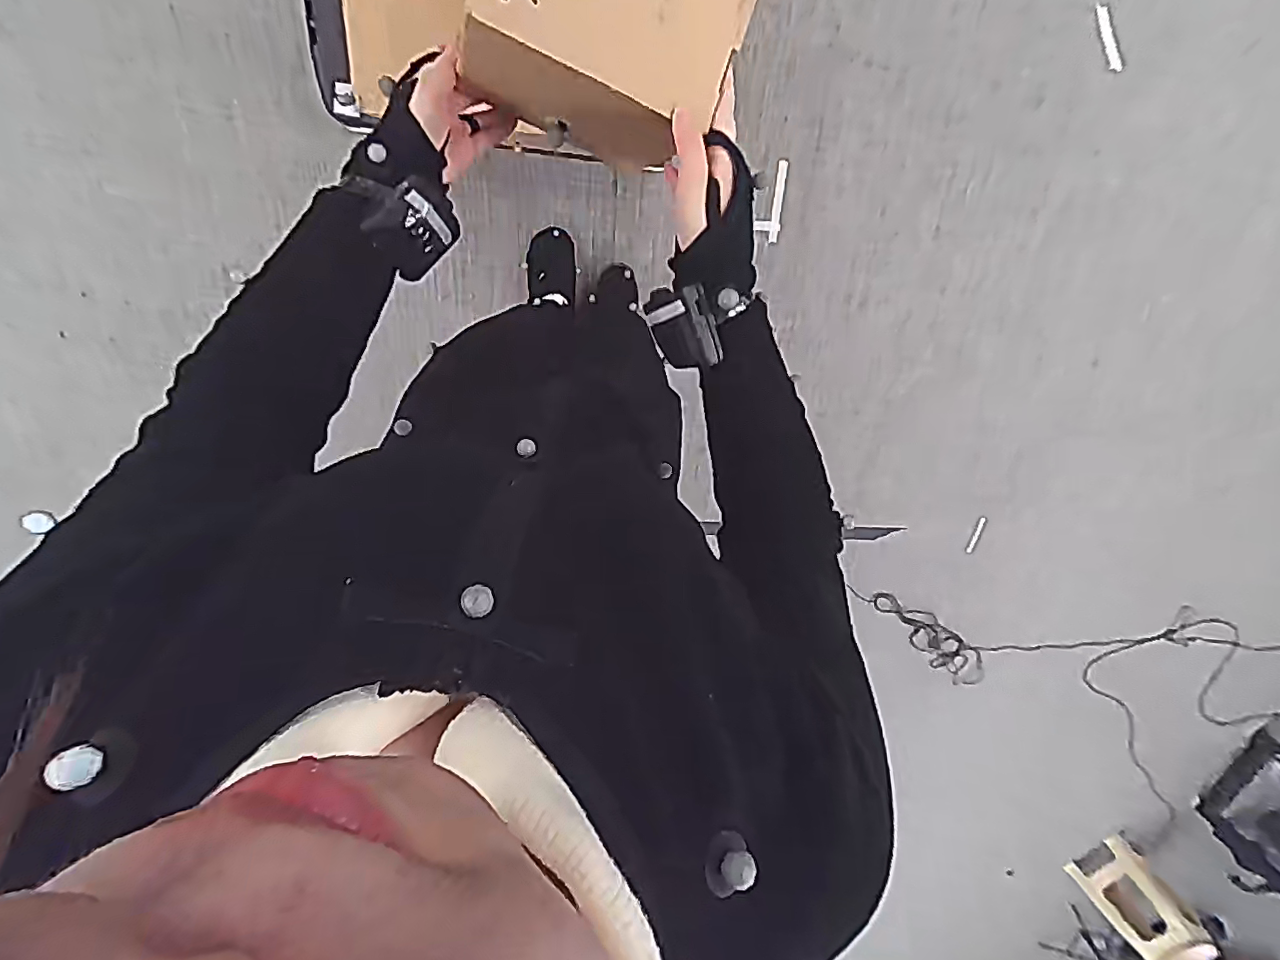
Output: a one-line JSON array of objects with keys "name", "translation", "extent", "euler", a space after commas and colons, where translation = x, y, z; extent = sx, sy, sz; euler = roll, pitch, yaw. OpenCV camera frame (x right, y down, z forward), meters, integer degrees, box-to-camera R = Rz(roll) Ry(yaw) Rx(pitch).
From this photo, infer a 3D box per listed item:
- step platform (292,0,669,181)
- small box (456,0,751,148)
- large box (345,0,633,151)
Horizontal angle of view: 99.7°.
[{"name": "step platform", "translation": [-0.261, -0.794, 1.025], "extent": [0.684, 0.204, 0.286], "euler": [8, 117, -10]}, {"name": "small box", "translation": [-0.028, -0.372, 0.399], "extent": [0.179, 0.176, 0.168], "euler": [11, 105, -25]}, {"name": "large box", "translation": [-0.182, -0.697, 0.814], "extent": [0.408, 0.320, 0.320], "euler": [2, 117, -7]}]
